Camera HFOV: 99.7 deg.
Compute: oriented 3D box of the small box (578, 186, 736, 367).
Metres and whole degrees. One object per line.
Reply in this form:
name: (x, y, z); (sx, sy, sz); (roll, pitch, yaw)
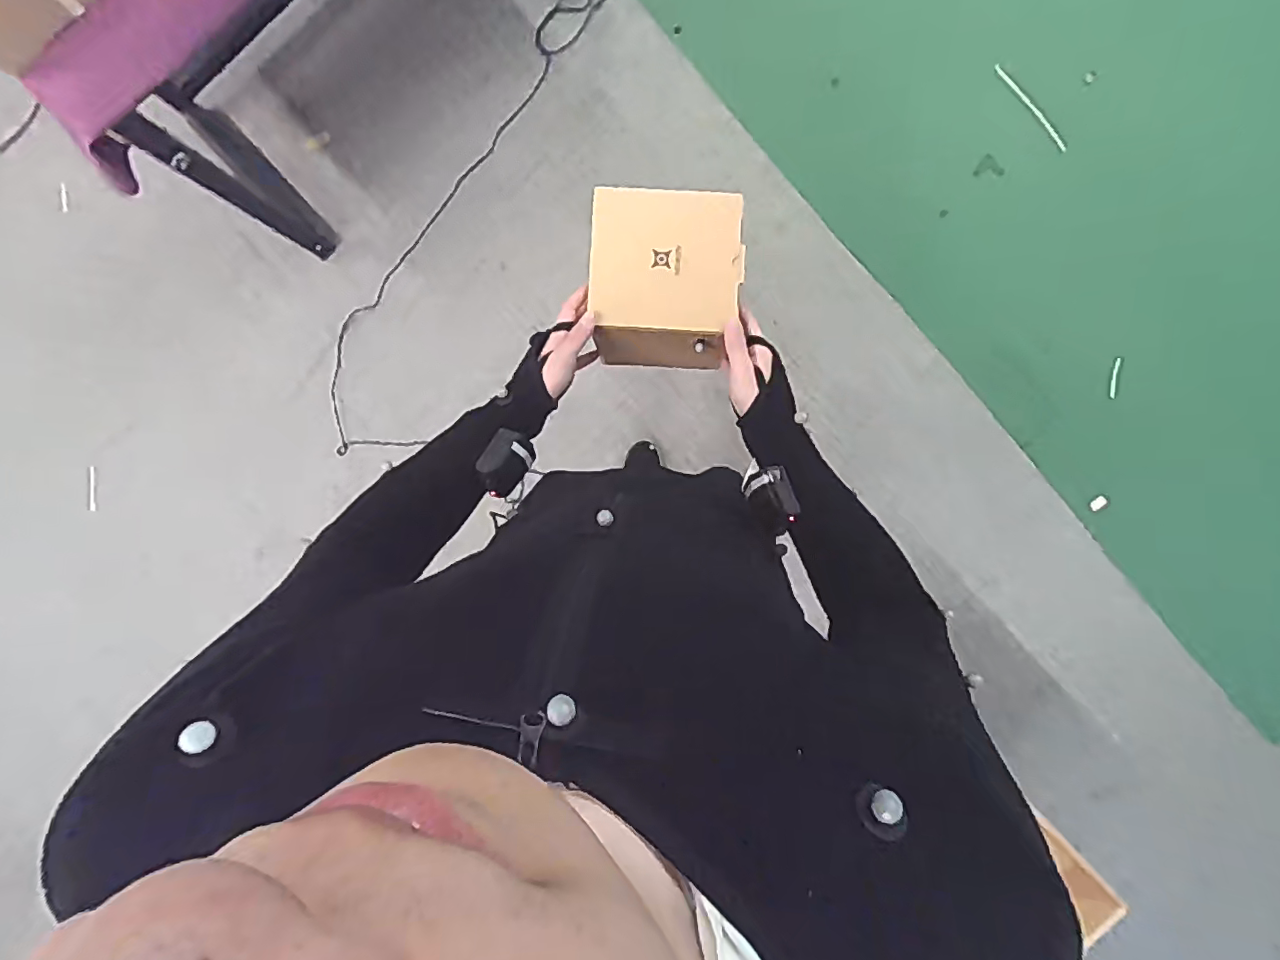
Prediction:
small box: (0.021, -0.248, 0.693); (0.179, 0.176, 0.168); (2, 87, 0)
